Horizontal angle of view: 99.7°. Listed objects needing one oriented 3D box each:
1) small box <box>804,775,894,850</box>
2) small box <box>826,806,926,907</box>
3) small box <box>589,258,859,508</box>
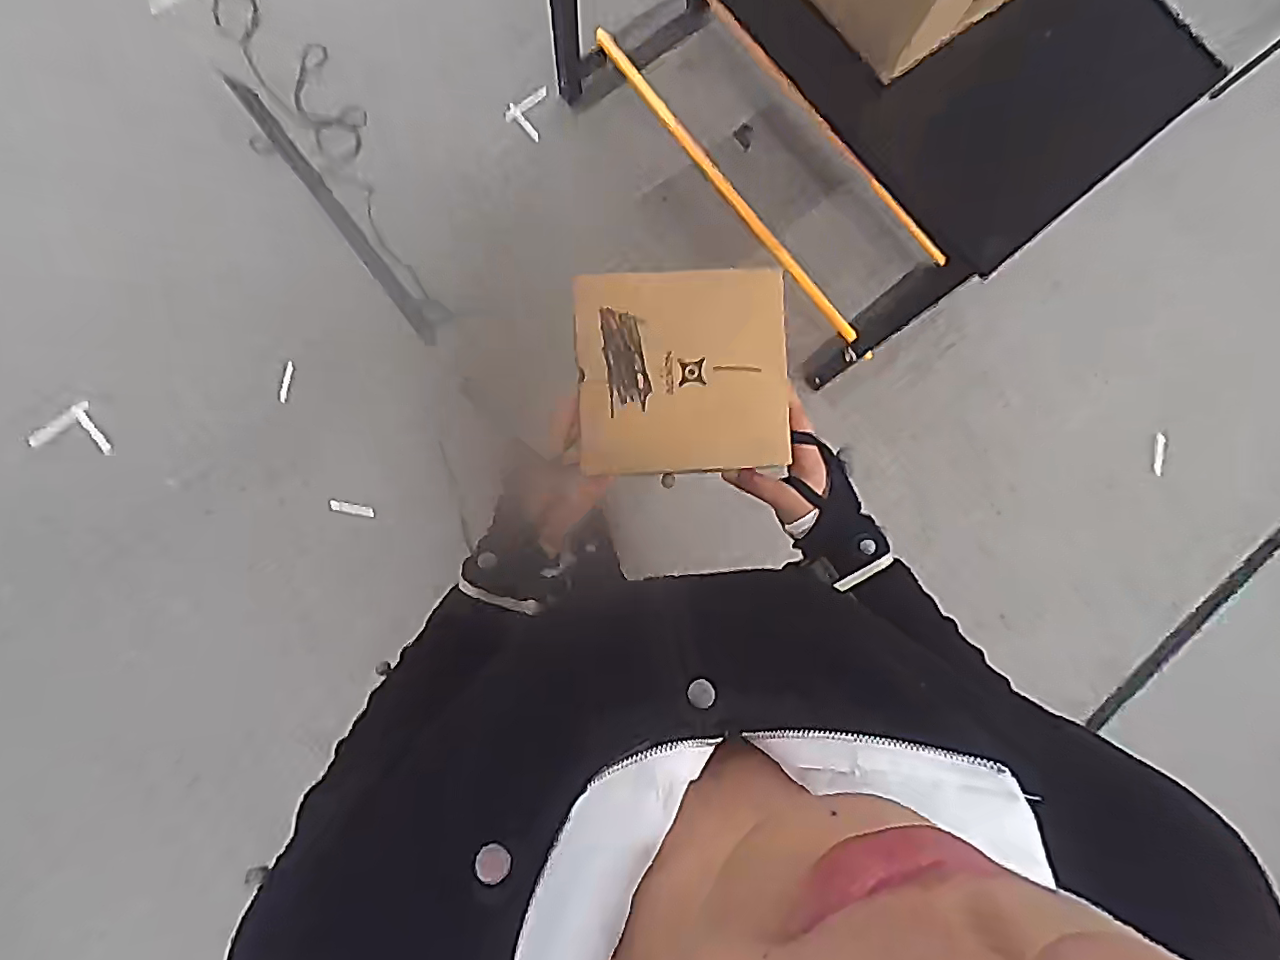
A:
[{"bbox_3d":[0.530,0.854,1.293,0.168,0.176,0.179,-39,86,-8],"label":"small box"},{"bbox_3d":[0.529,0.833,1.129,0.168,0.176,0.179,-39,87,-8],"label":"small box"},{"bbox_3d":[0.056,-0.064,0.442,0.179,0.176,0.168,-3,90,-1],"label":"small box"}]
